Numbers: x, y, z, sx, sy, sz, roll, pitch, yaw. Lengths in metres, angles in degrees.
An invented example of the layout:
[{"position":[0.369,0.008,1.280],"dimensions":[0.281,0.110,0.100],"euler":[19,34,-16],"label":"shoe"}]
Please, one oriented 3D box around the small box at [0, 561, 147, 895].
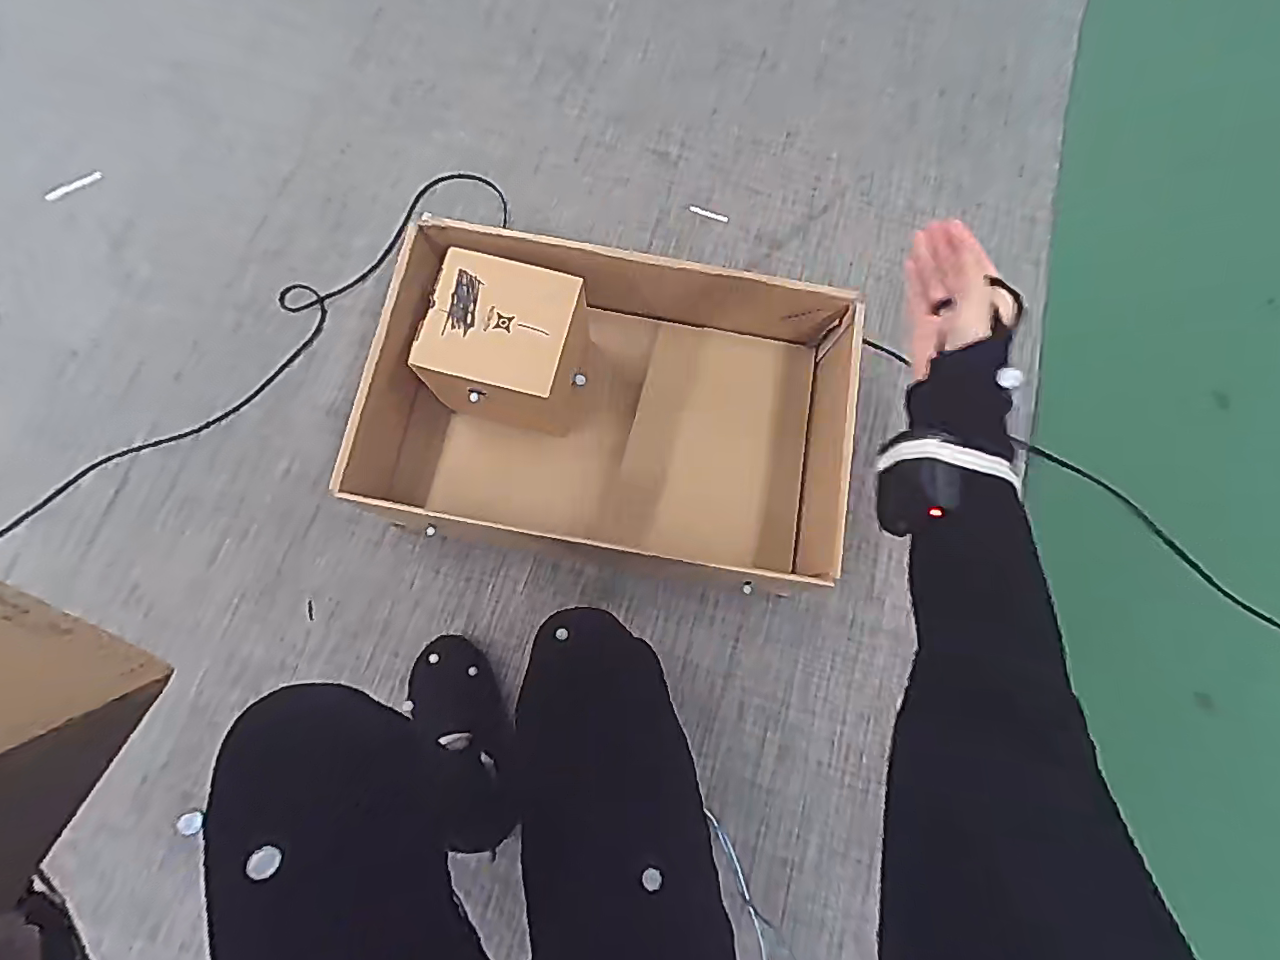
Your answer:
[{"position":[-0.315,0.109,0.155],"dimensions":[0.168,0.176,0.179],"euler":[33,81,-10],"label":"small box"}]
